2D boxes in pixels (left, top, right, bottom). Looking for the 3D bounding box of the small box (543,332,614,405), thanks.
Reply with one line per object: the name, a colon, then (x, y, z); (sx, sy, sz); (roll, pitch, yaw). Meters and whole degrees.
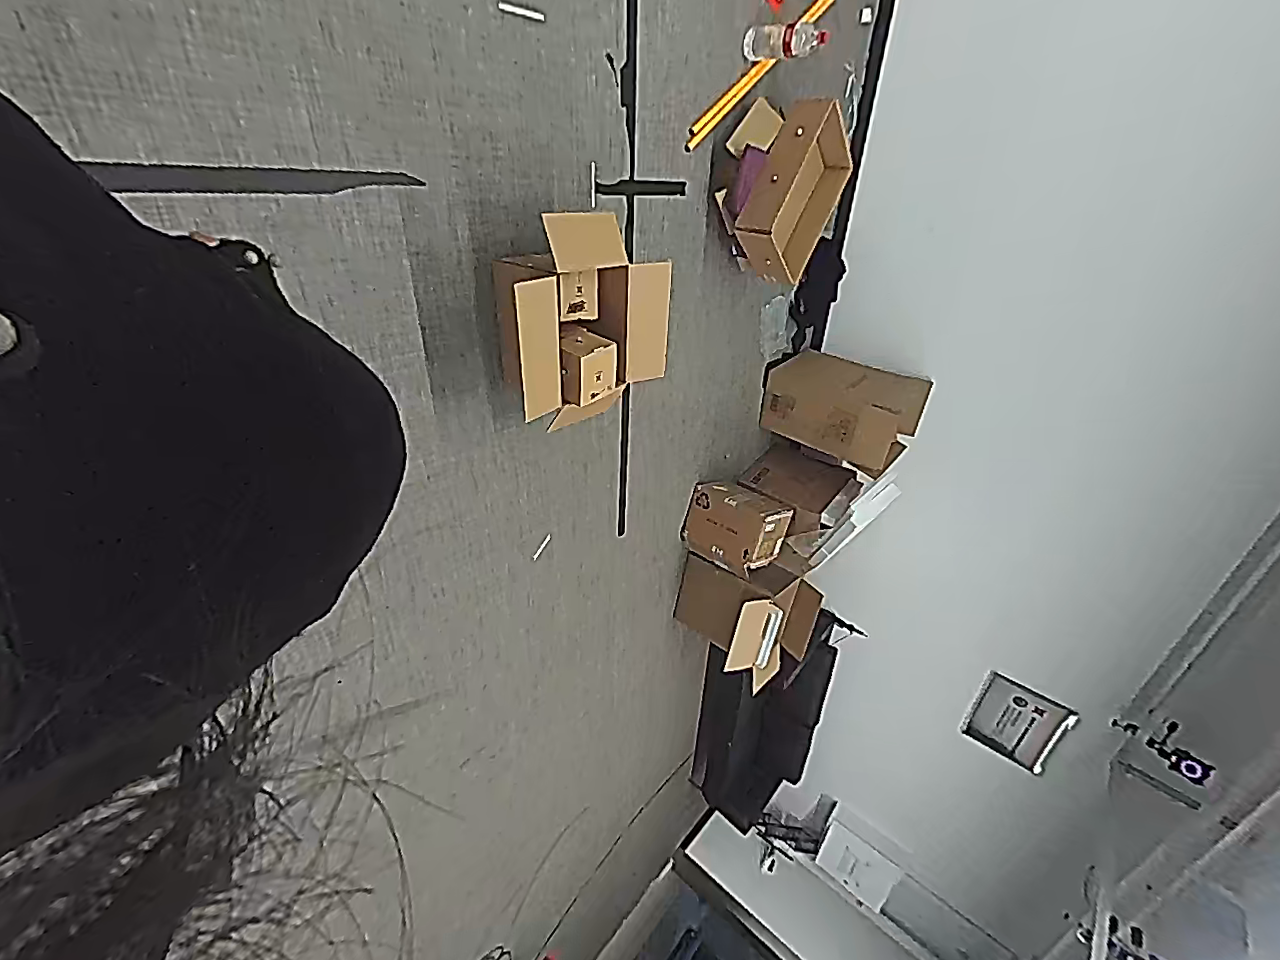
small box: (-0.201, -0.370, 1.756); (0.168, 0.176, 0.179); (-33, 139, -40)
